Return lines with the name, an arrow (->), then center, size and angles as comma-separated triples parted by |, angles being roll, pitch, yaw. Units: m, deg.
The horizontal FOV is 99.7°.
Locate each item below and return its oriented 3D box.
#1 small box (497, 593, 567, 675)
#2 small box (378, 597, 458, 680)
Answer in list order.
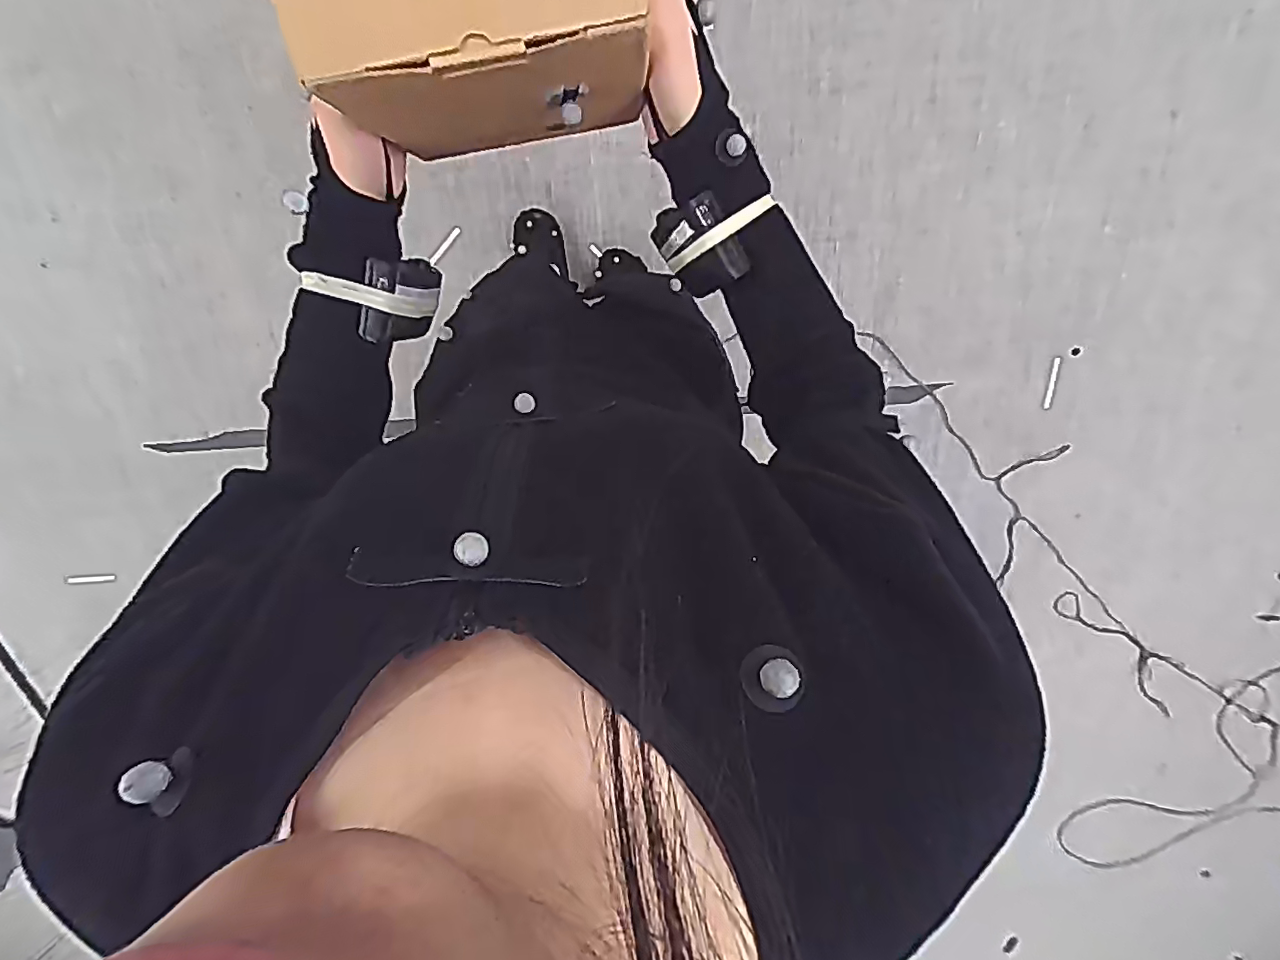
small box -> -0.323, 0.469, 1.657 | 0.168, 0.176, 0.179 | -5, 112, 2
small box -> -0.680, 0.482, 1.664 | 0.179, 0.176, 0.168 | 11, 112, -6
